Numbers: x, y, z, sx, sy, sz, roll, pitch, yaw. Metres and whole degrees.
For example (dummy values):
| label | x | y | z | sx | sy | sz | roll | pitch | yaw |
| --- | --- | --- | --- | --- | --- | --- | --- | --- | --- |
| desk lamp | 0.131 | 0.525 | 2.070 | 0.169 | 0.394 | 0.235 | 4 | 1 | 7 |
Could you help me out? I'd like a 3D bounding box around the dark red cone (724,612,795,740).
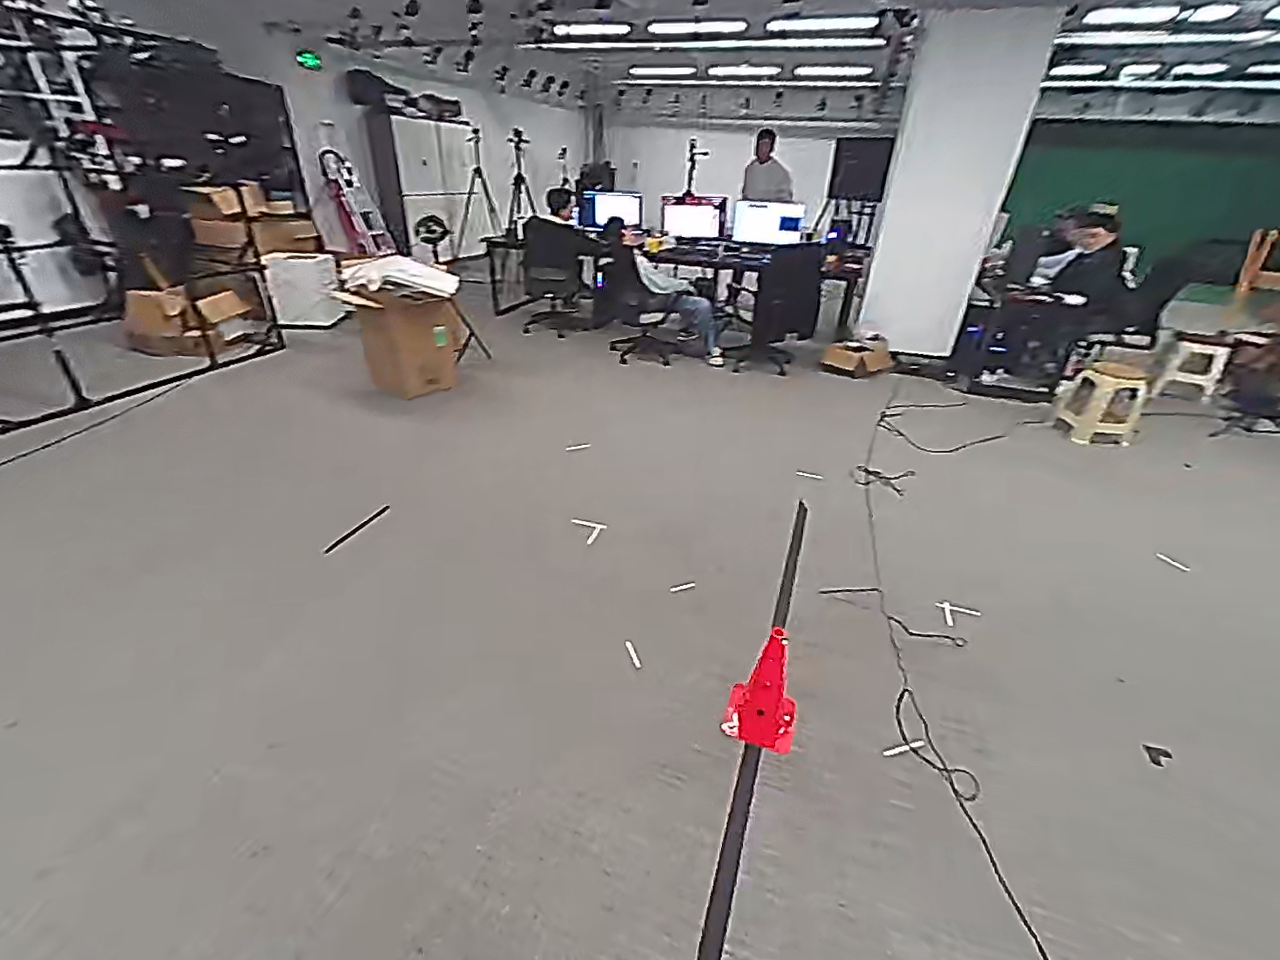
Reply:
| label | x | y | z | sx | sy | sz | roll | pitch | yaw |
| --- | --- | --- | --- | --- | --- | --- | --- | --- | --- |
| dark red cone | 0.375 | 0.540 | 1.557 | 0.201 | 0.394 | 0.202 | 13 | 31 | 15 |
